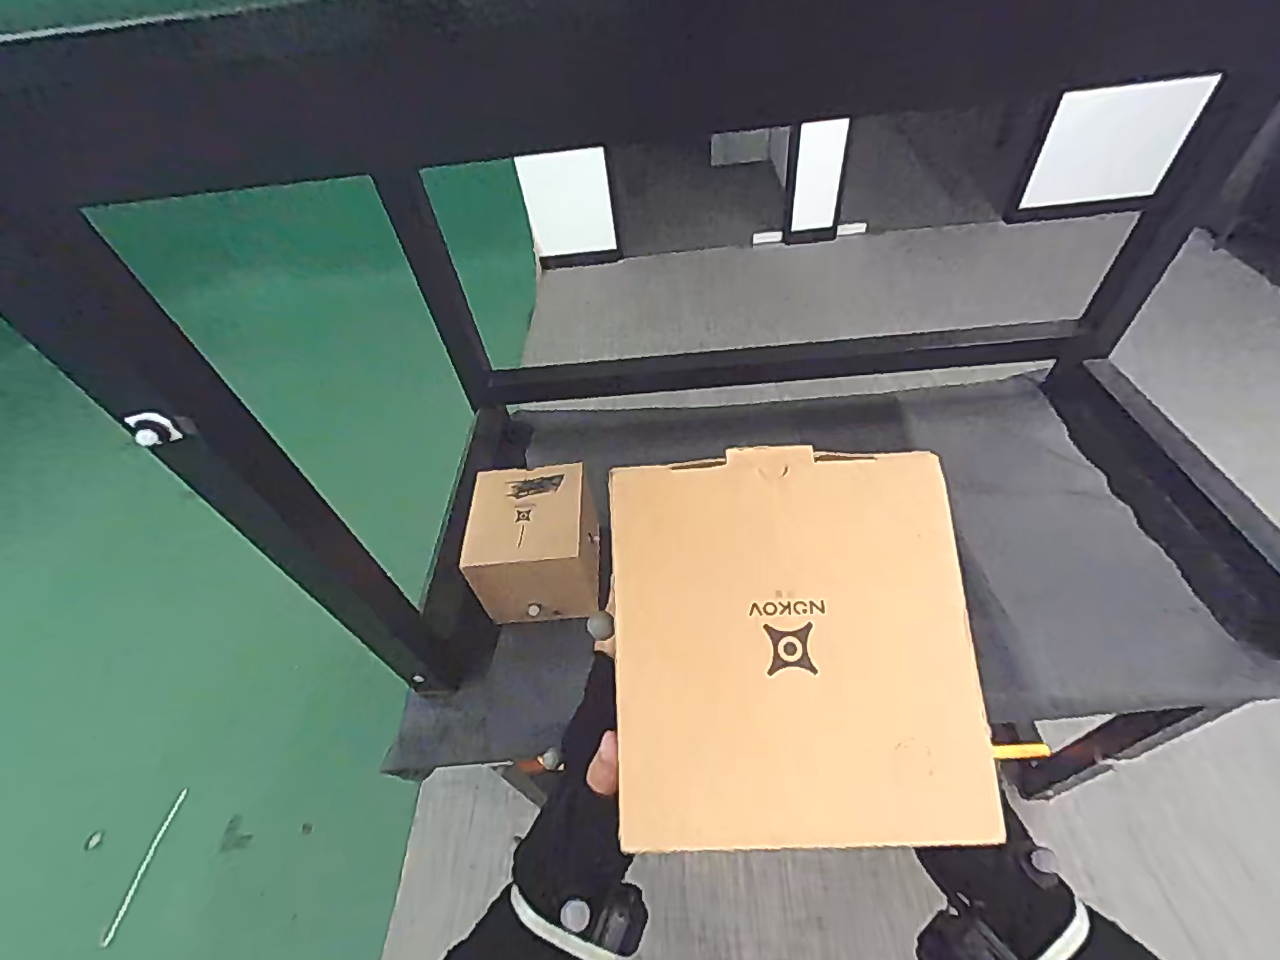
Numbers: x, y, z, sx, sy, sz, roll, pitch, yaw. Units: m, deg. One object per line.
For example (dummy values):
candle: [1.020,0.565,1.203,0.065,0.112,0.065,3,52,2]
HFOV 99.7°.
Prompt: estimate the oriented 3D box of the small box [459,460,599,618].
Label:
small box: [-0.157,0.092,0.834,0.168,0.176,0.179,-5,48,3]

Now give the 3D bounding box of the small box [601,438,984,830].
small box: [0.069,0.086,0.333,0.168,0.176,0.179,-3,75,2]
